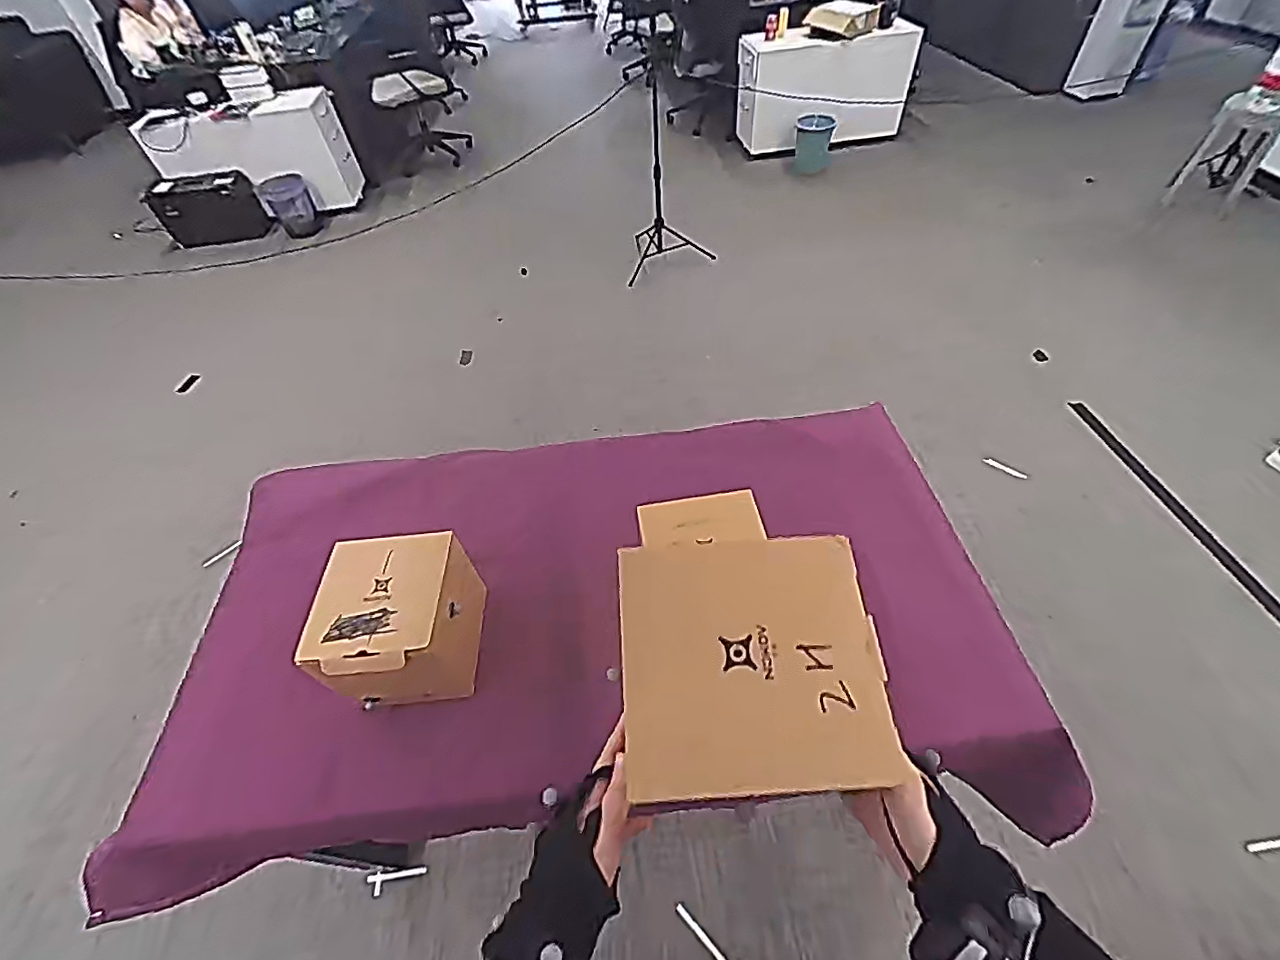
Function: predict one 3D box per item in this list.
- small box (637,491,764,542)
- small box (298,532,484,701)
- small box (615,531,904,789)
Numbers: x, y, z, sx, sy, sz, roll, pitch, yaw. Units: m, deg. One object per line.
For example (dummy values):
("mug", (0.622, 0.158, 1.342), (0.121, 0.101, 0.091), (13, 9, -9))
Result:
("small box", (0.092, 0.143, 0.766), (0.168, 0.176, 0.179), (-8, 50, -2))
("small box", (-0.328, 0.197, 0.758), (0.168, 0.176, 0.179), (-6, 49, 0))
("small box", (0.074, 0.153, 0.438), (0.179, 0.176, 0.168), (-3, 61, -1))
